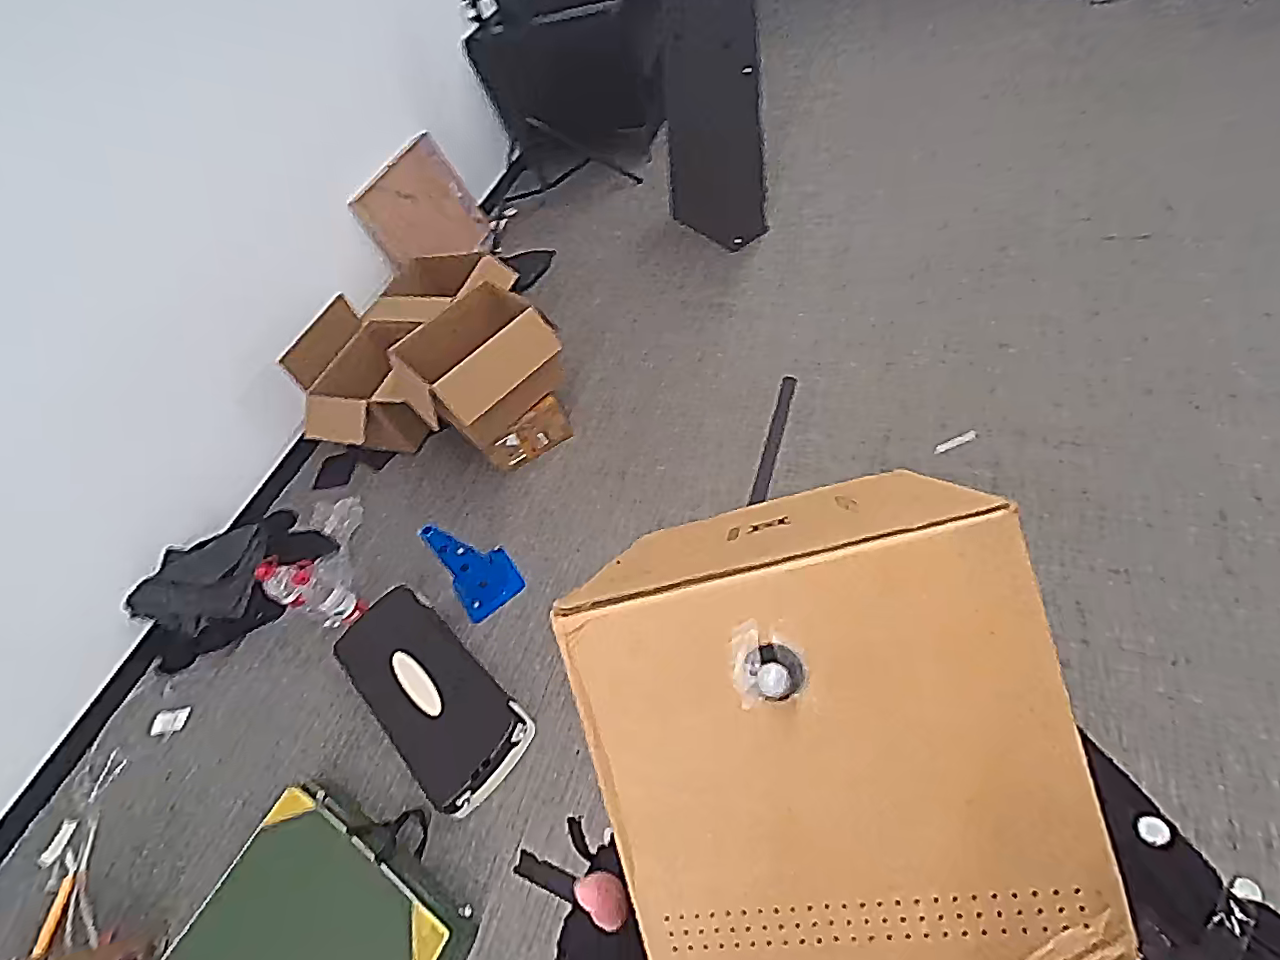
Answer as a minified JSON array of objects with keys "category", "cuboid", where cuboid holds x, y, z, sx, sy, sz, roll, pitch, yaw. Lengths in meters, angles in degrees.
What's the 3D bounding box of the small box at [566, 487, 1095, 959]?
[{"category":"small box","cuboid":[0.089,0.112,0.293,0.179,0.168,0.176,-16,91,16]}]
